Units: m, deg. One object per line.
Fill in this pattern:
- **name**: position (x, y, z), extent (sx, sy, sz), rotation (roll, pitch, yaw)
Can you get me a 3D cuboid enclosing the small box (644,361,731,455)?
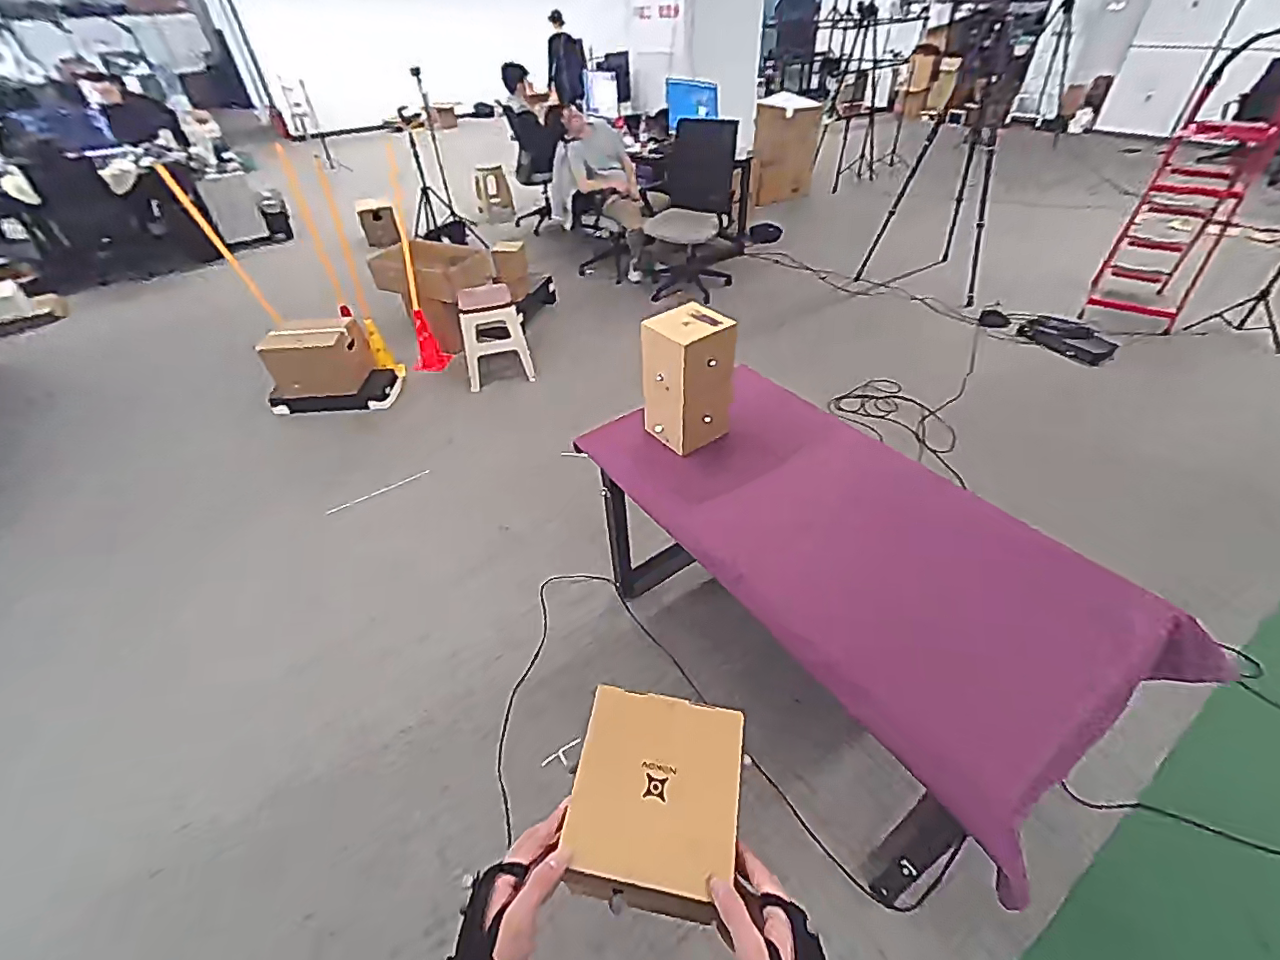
- **small box**: position (0.126, -0.198, 1.485), extent (0.179, 0.176, 0.168), rotation (-28, 47, -25)
